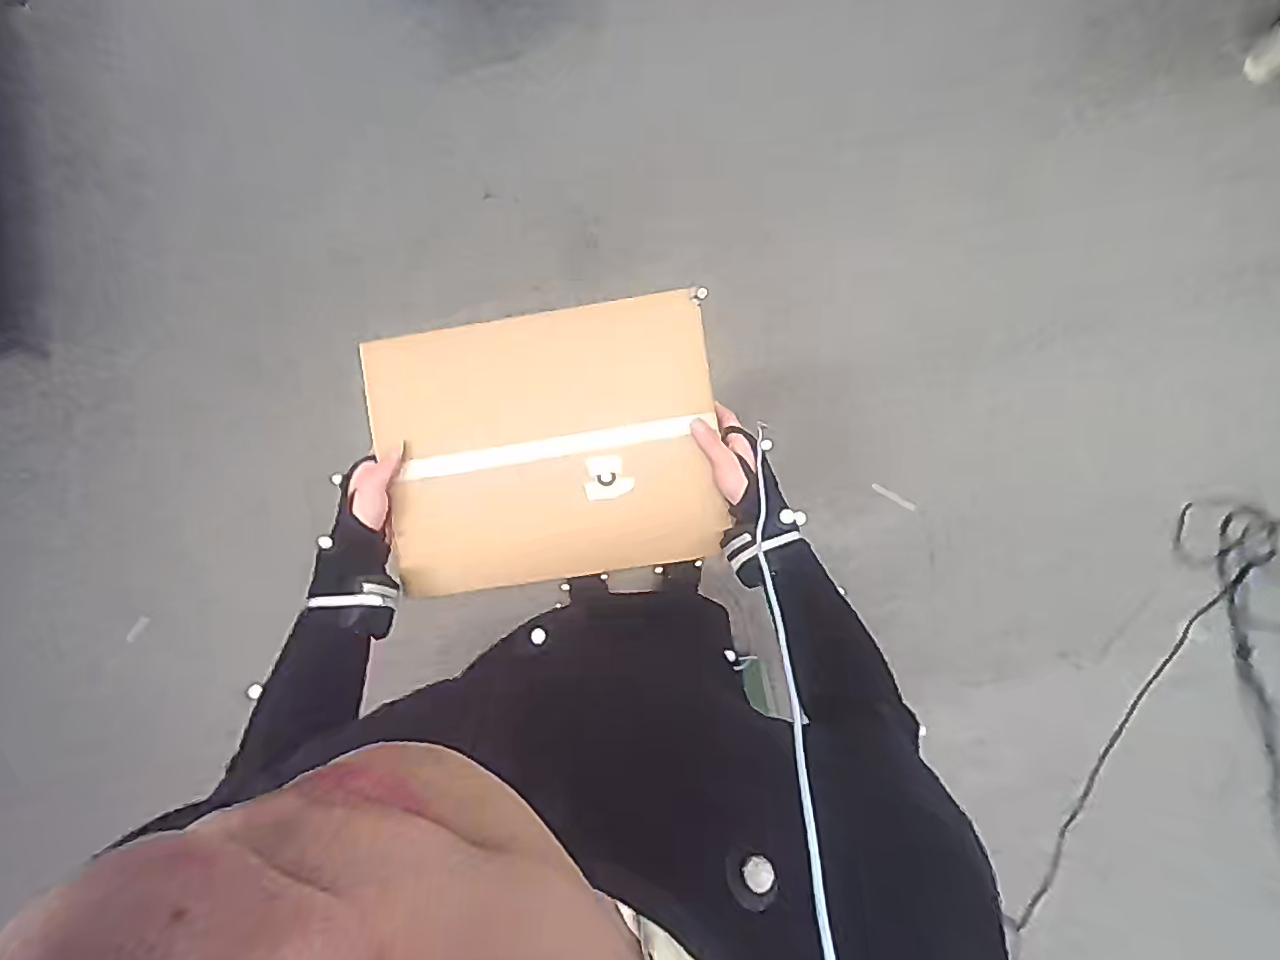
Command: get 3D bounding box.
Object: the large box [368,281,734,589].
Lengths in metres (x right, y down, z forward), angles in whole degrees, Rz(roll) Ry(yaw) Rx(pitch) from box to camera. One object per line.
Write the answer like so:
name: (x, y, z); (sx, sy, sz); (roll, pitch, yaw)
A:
large box: (-0.104, -0.055, 0.792); (0.408, 0.320, 0.320); (-9, 93, 2)
